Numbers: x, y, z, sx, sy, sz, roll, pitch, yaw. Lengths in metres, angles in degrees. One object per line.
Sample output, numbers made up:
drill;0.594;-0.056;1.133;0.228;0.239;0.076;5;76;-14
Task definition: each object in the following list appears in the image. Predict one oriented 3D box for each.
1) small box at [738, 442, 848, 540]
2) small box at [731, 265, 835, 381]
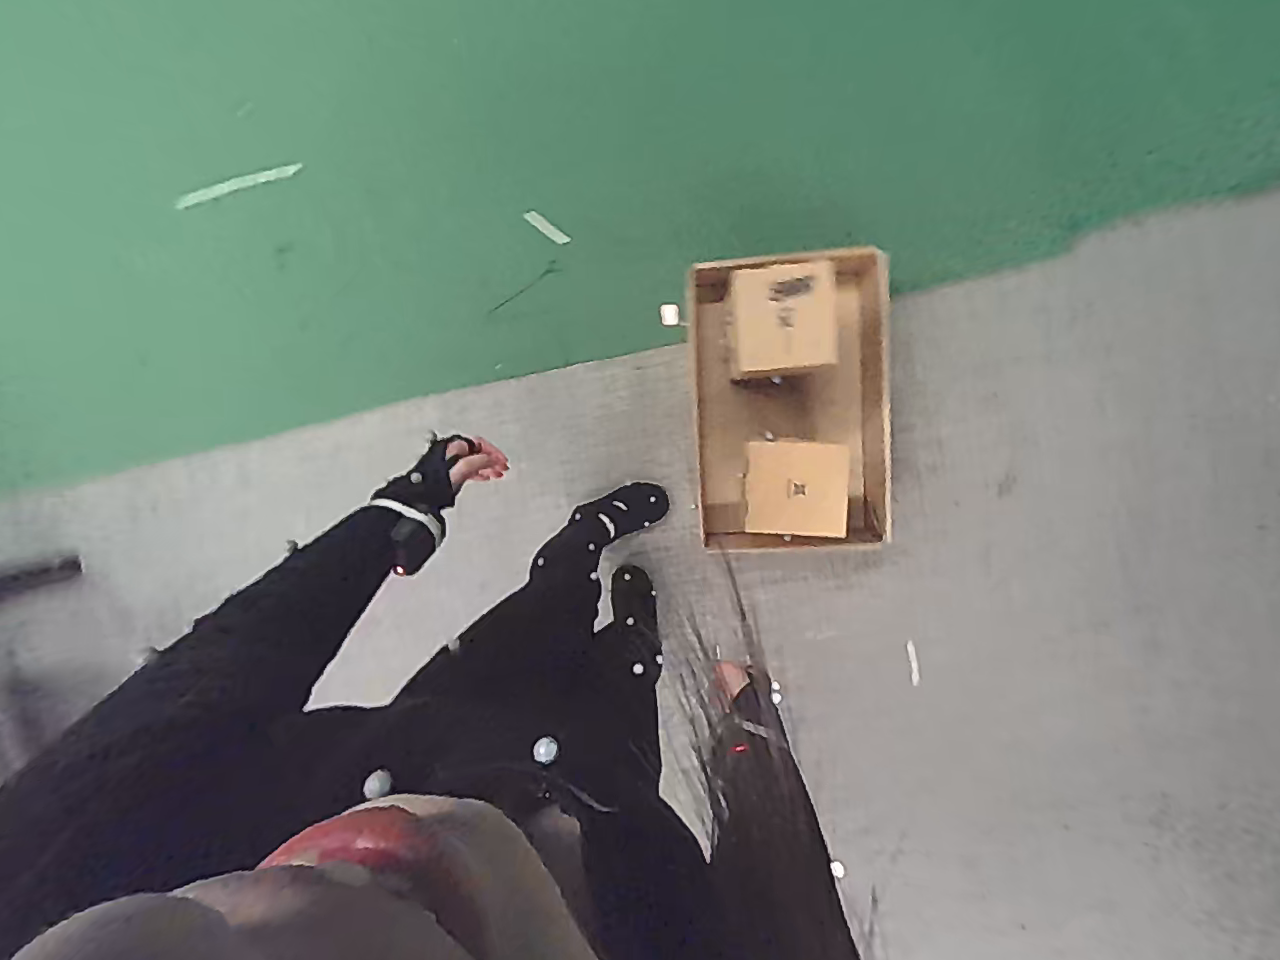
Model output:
small box;0.285;0.014;1.043;0.179;0.176;0.168;3;95;8
small box;0.261;-0.285;1.015;0.168;0.176;0.179;-3;96;6
